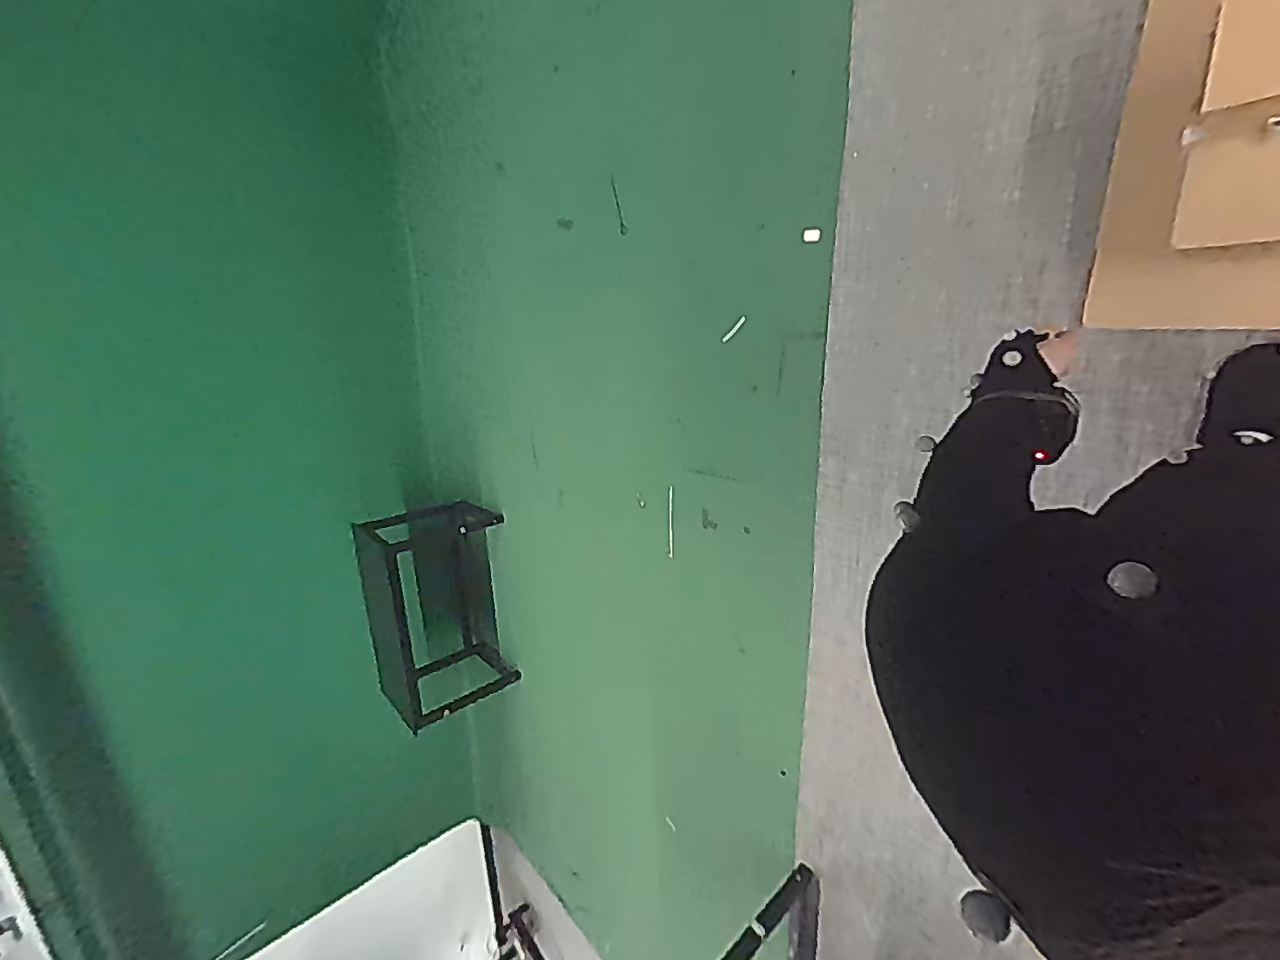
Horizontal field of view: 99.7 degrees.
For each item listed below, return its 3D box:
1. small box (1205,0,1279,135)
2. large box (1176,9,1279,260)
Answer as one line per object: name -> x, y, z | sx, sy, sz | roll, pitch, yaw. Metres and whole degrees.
small box -> 0.786, -0.533, 0.621 | 0.168, 0.176, 0.179 | 12, 110, 47
large box -> 1.033, -0.496, 0.727 | 0.408, 0.320, 0.320 | 13, 112, 45
